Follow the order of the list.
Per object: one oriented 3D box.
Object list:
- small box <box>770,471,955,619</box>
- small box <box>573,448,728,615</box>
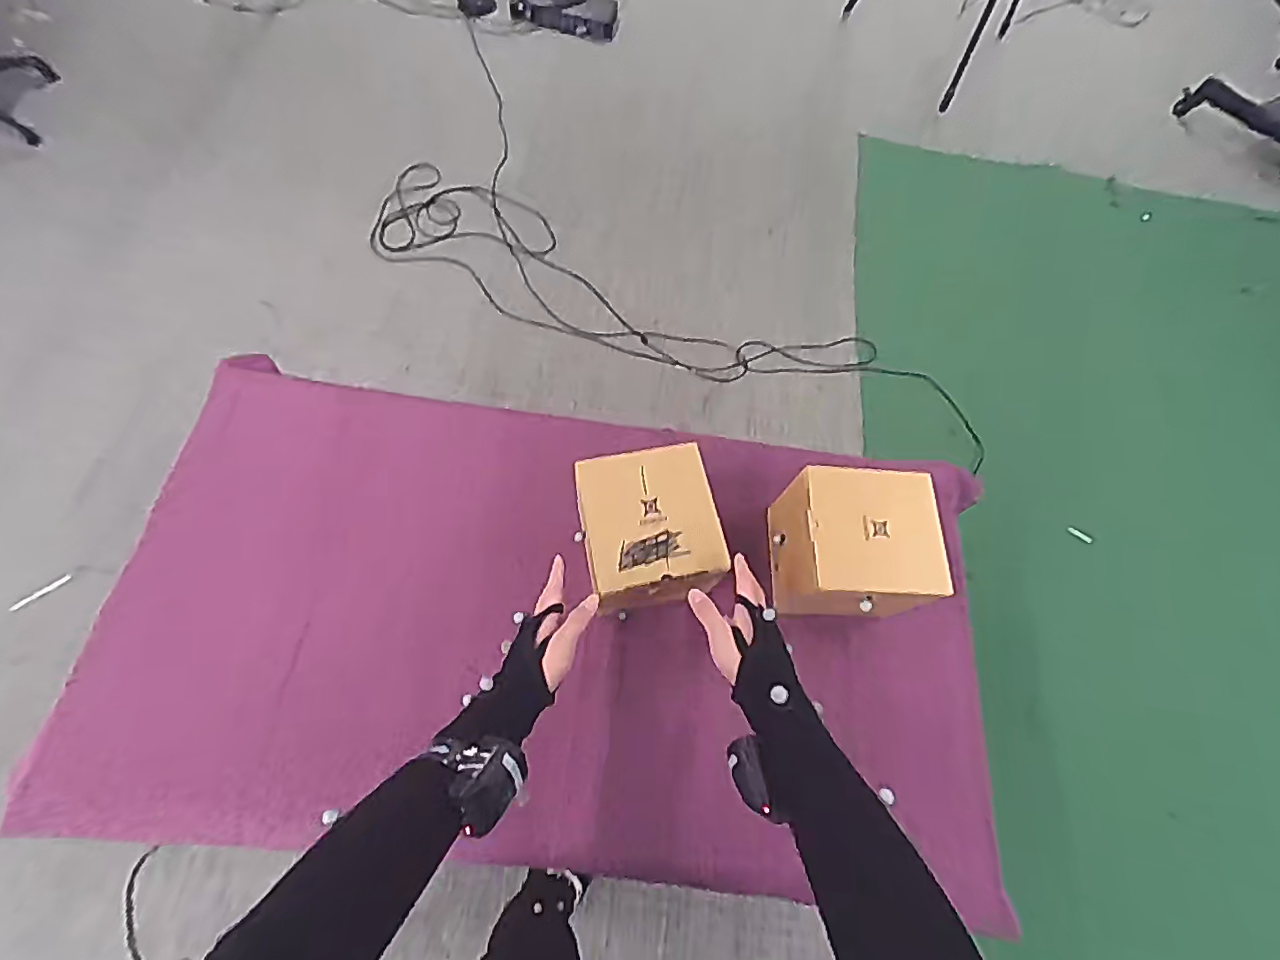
[{"bbox_3d":[0.295,0.099,0.757,0.179,0.176,0.168,2,67,-2],"label":"small box"},{"bbox_3d":[0.006,0.079,0.741,0.168,0.176,0.179,-10,68,-9],"label":"small box"}]
